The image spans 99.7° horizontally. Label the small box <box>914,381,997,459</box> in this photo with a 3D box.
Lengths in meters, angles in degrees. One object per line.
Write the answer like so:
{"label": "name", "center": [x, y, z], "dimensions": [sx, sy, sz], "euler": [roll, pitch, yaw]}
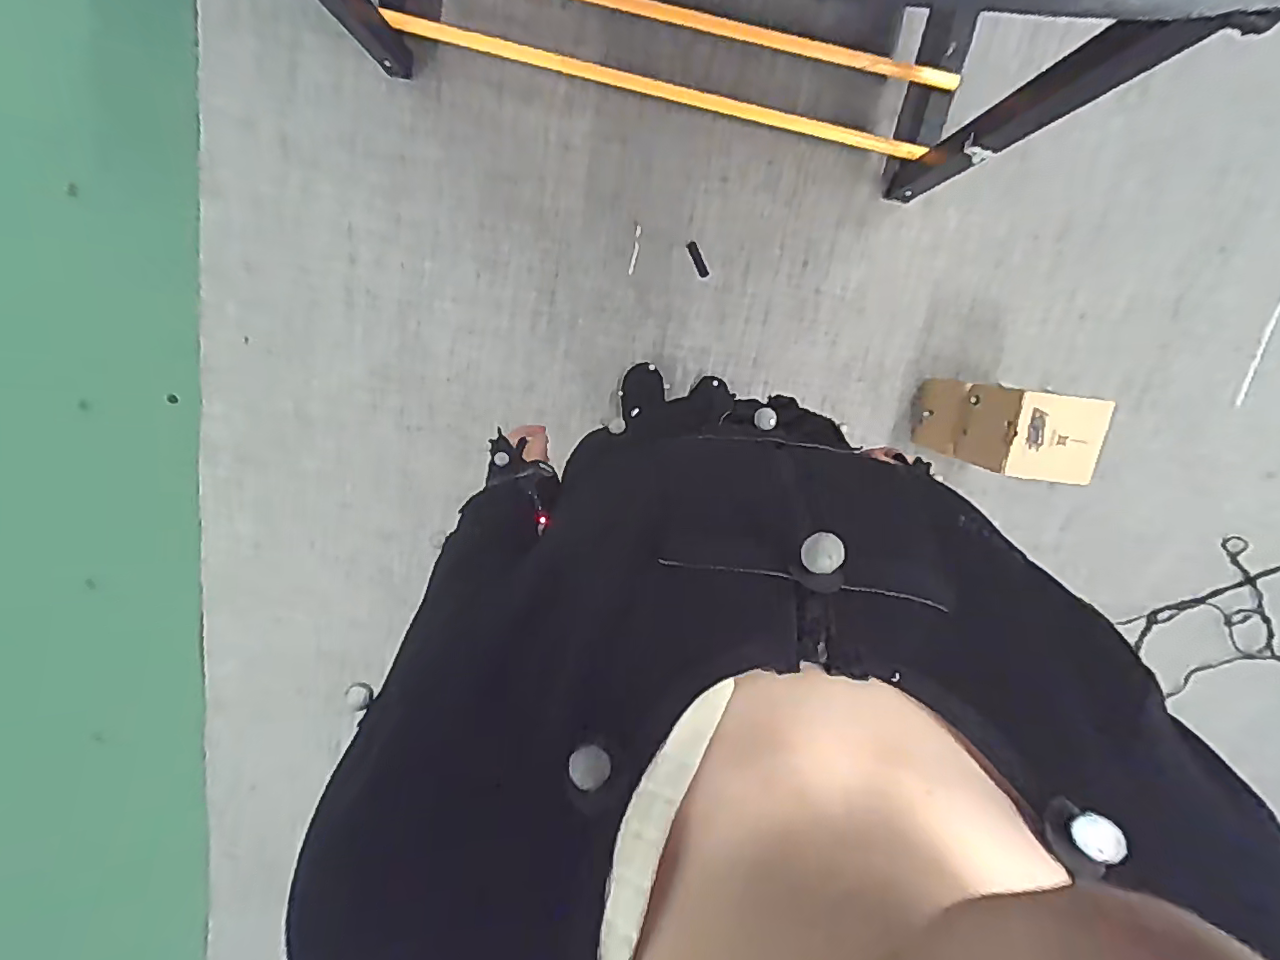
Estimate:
{"label": "small box", "center": [0.776, -0.138, 1.254], "dimensions": [0.179, 0.176, 0.168], "euler": [6, 103, -1]}

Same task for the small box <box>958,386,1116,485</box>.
{"label": "small box", "center": [0.787, -0.096, 1.095], "dimensions": [0.179, 0.176, 0.168], "euler": [6, 104, -2]}
